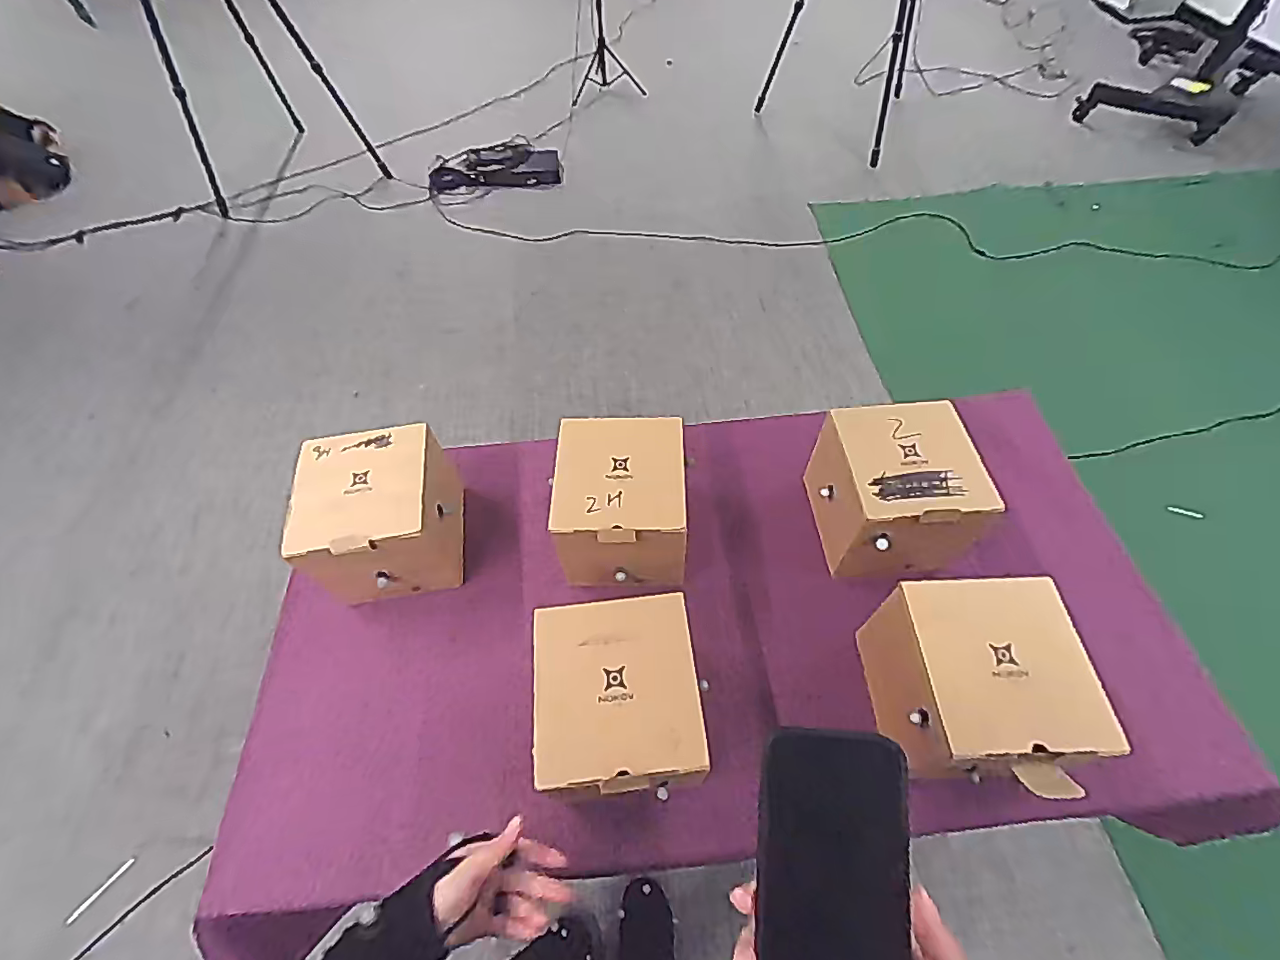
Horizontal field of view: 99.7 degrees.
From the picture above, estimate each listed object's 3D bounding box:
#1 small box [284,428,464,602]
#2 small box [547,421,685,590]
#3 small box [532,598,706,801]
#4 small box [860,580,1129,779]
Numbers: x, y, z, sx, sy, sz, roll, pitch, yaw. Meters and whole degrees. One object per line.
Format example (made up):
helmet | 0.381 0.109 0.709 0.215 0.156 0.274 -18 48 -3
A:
small box | -0.350 0.057 0.750 0.168 0.176 0.179 -10 57 -4
small box | -0.025 0.037 0.749 0.168 0.176 0.179 -1 57 3
small box | -0.022 0.252 0.608 0.168 0.176 0.179 -6 55 -2
small box | 0.366 0.227 0.606 0.168 0.176 0.179 -2 57 1
